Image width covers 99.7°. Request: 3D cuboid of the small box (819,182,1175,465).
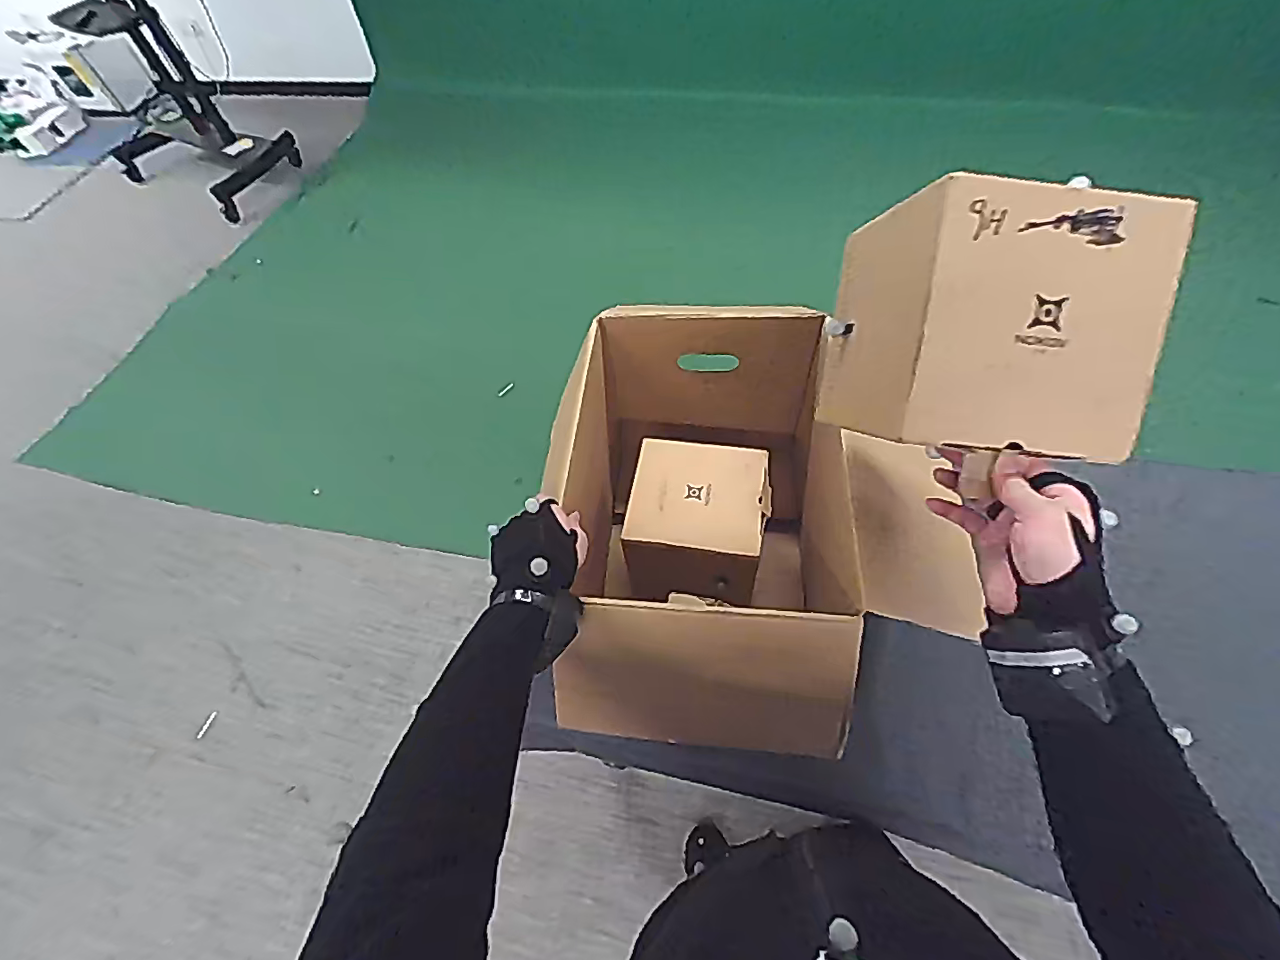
[{"bbox_3d":[0.264,-0.119,0.450,0.168,0.176,0.179,5,101,-2],"label":"small box"}]
